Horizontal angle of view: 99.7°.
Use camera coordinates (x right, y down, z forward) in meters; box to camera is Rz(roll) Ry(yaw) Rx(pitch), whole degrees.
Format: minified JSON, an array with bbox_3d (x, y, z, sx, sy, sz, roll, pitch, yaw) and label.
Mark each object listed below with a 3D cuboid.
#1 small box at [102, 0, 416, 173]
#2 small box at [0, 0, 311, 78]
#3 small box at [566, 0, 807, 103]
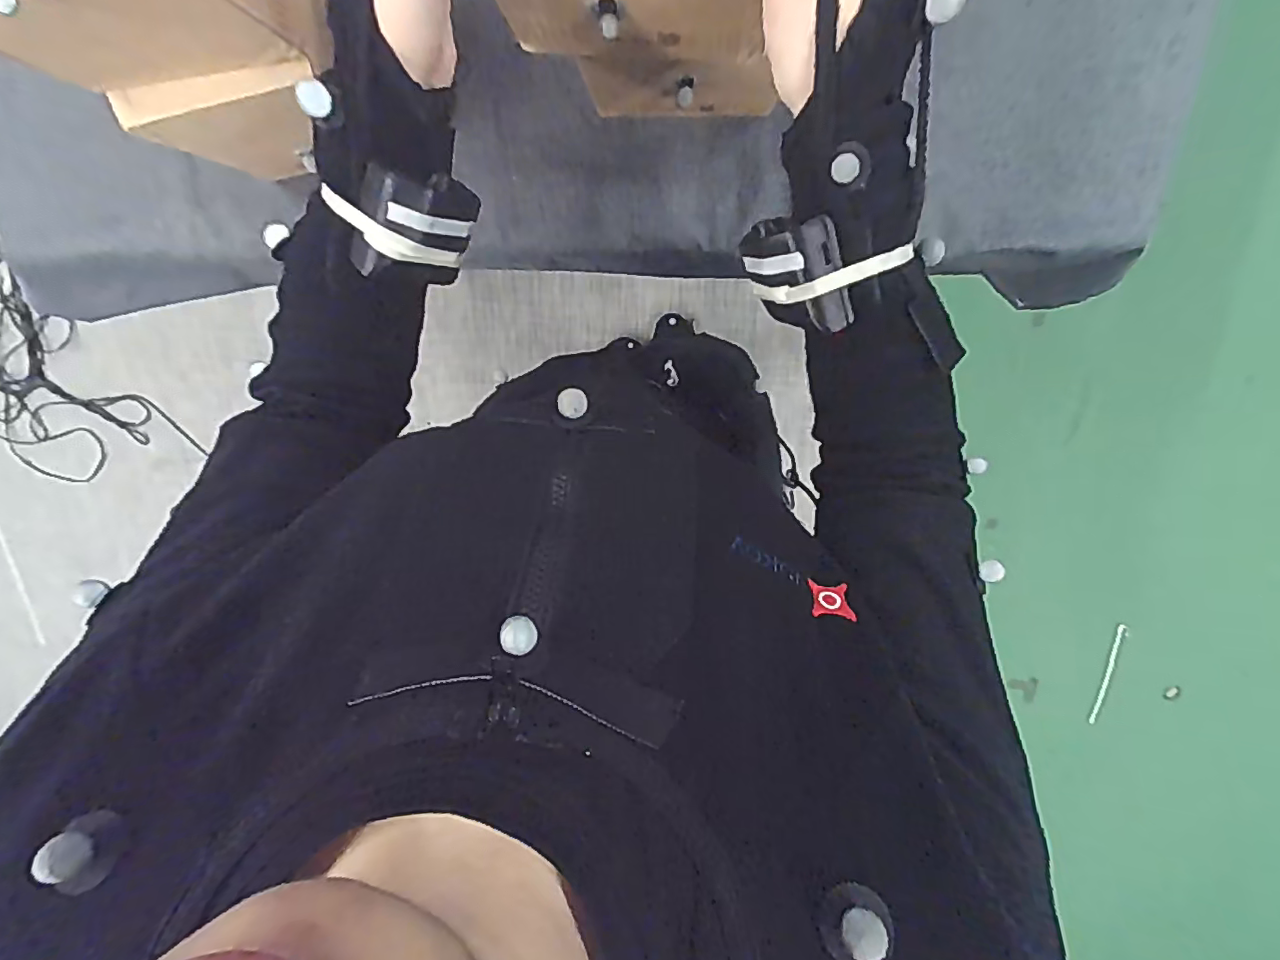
[{"bbox_3d":[-0.318,-0.384,0.450,0.168,0.176,0.179,-8,107,7],"label":"small box"},{"bbox_3d":[-0.326,-0.348,0.290,0.179,0.176,0.168,-4,108,5],"label":"small box"},{"bbox_3d":[0.039,-0.413,0.415,0.168,0.176,0.179,2,108,4],"label":"small box"}]
